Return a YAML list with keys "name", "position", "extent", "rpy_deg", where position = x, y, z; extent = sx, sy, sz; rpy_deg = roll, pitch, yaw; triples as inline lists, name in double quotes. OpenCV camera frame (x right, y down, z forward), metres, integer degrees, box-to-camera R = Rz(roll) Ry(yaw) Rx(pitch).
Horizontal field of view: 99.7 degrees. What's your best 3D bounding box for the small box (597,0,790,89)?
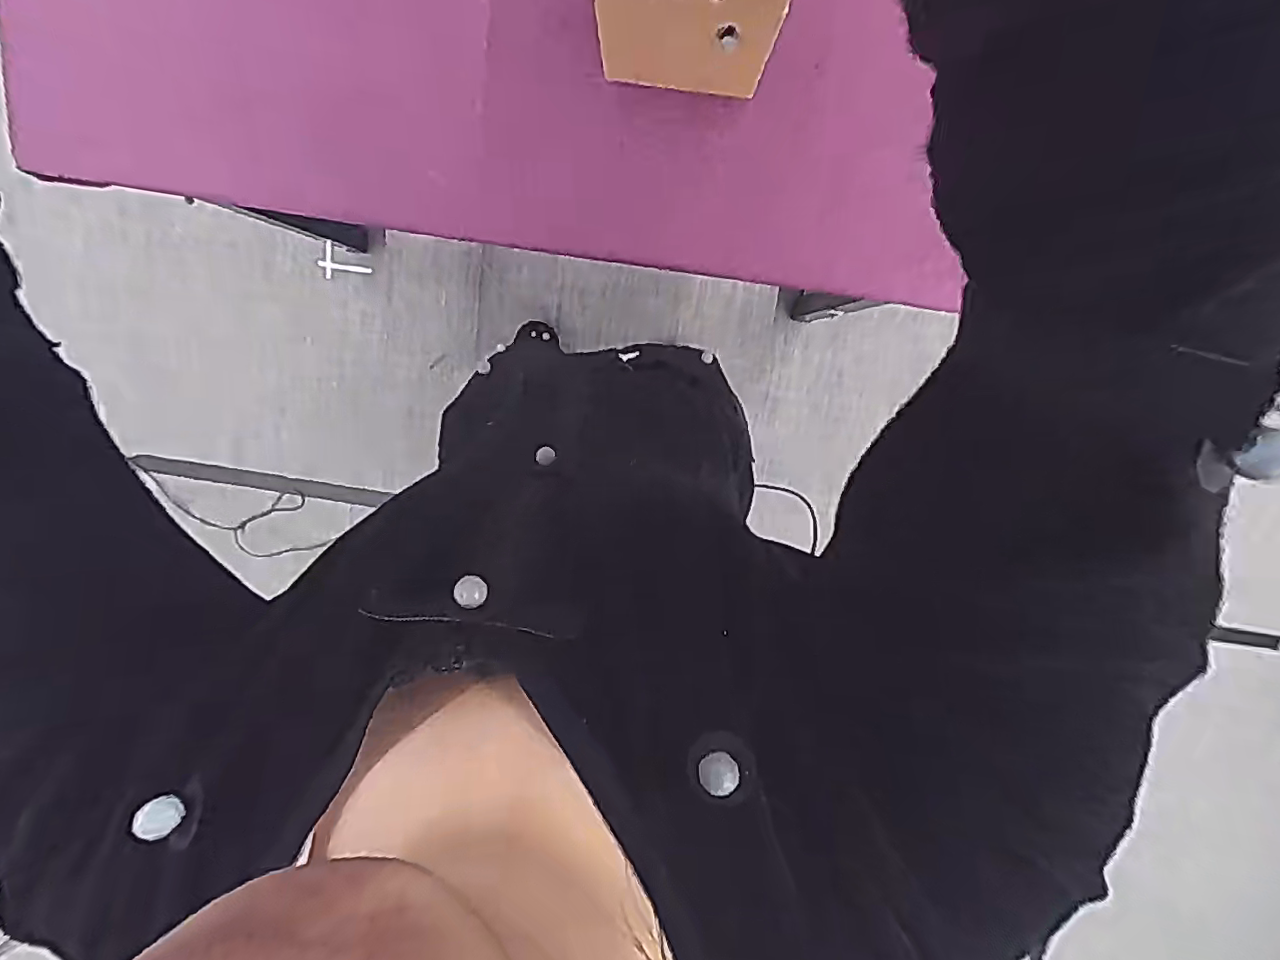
- name: "small box"
  position: [0.056, -0.522, 0.534]
  extent: [0.179, 0.176, 0.168]
  rpy_deg: [7, 102, 0]
